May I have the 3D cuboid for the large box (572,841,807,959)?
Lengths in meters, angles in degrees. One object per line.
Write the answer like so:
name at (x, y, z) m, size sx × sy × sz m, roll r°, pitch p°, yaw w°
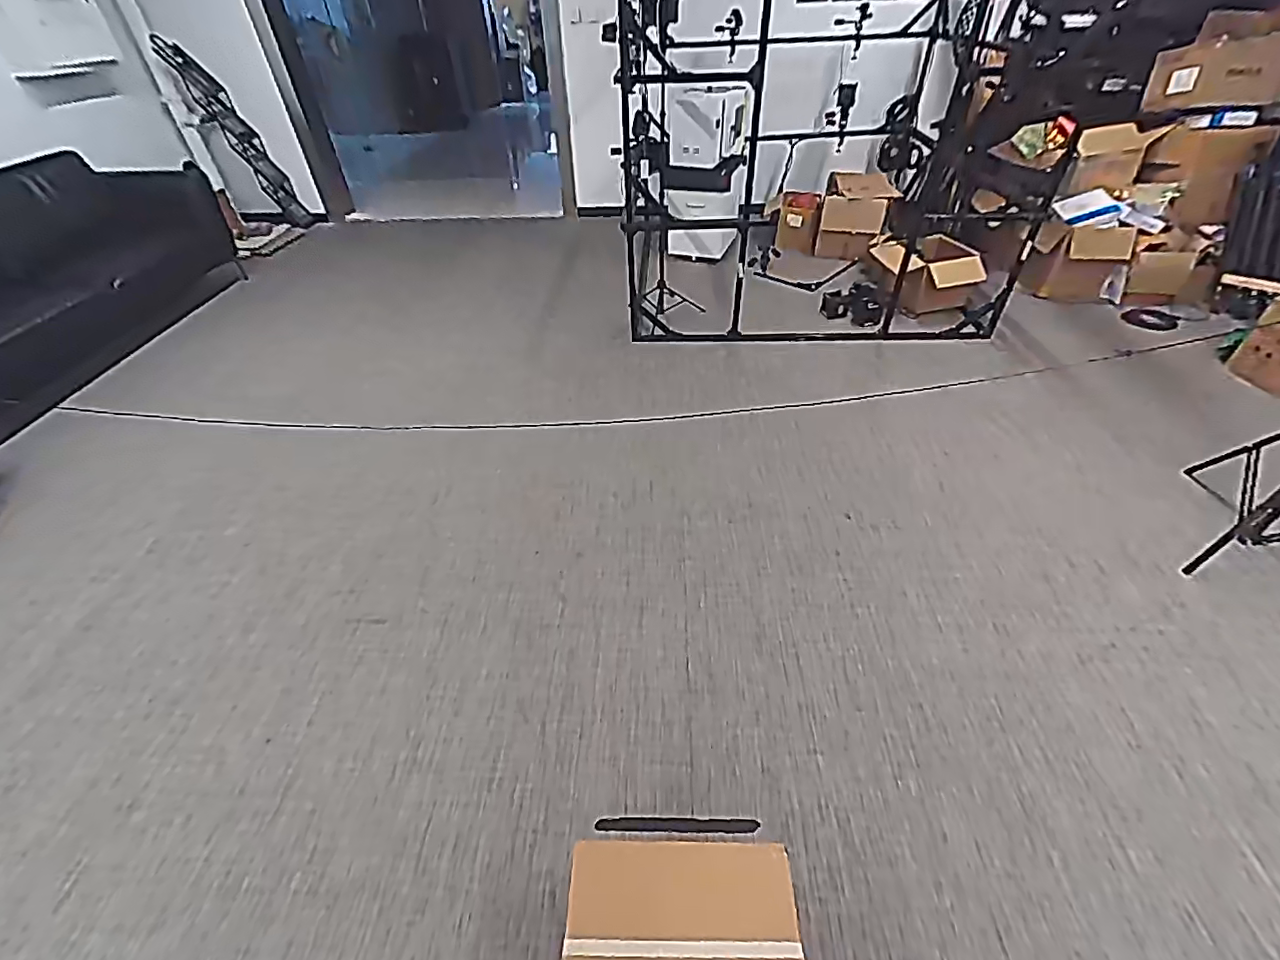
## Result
large box at (0.083, 0.909, 1.018) m, size 0.408 × 0.320 × 0.320 m, roll 0°, pitch 42°, yaw 2°
